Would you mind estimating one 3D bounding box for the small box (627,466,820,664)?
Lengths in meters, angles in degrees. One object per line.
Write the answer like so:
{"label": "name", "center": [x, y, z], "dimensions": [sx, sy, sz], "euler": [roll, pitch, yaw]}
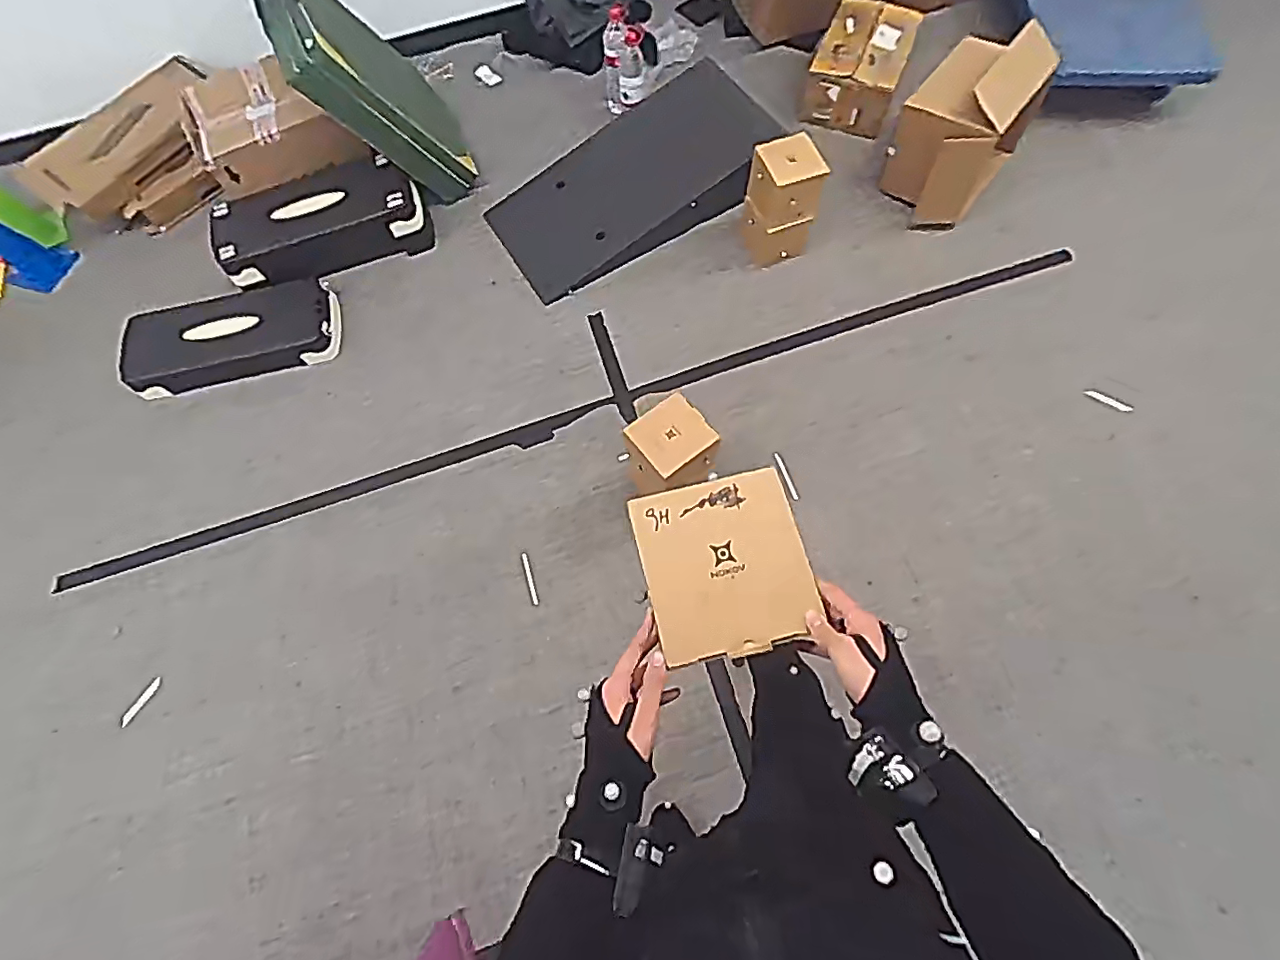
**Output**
{"label": "small box", "center": [0.086, 0.105, 0.633], "dimensions": [0.168, 0.176, 0.179], "euler": [-13, 72, -3]}
